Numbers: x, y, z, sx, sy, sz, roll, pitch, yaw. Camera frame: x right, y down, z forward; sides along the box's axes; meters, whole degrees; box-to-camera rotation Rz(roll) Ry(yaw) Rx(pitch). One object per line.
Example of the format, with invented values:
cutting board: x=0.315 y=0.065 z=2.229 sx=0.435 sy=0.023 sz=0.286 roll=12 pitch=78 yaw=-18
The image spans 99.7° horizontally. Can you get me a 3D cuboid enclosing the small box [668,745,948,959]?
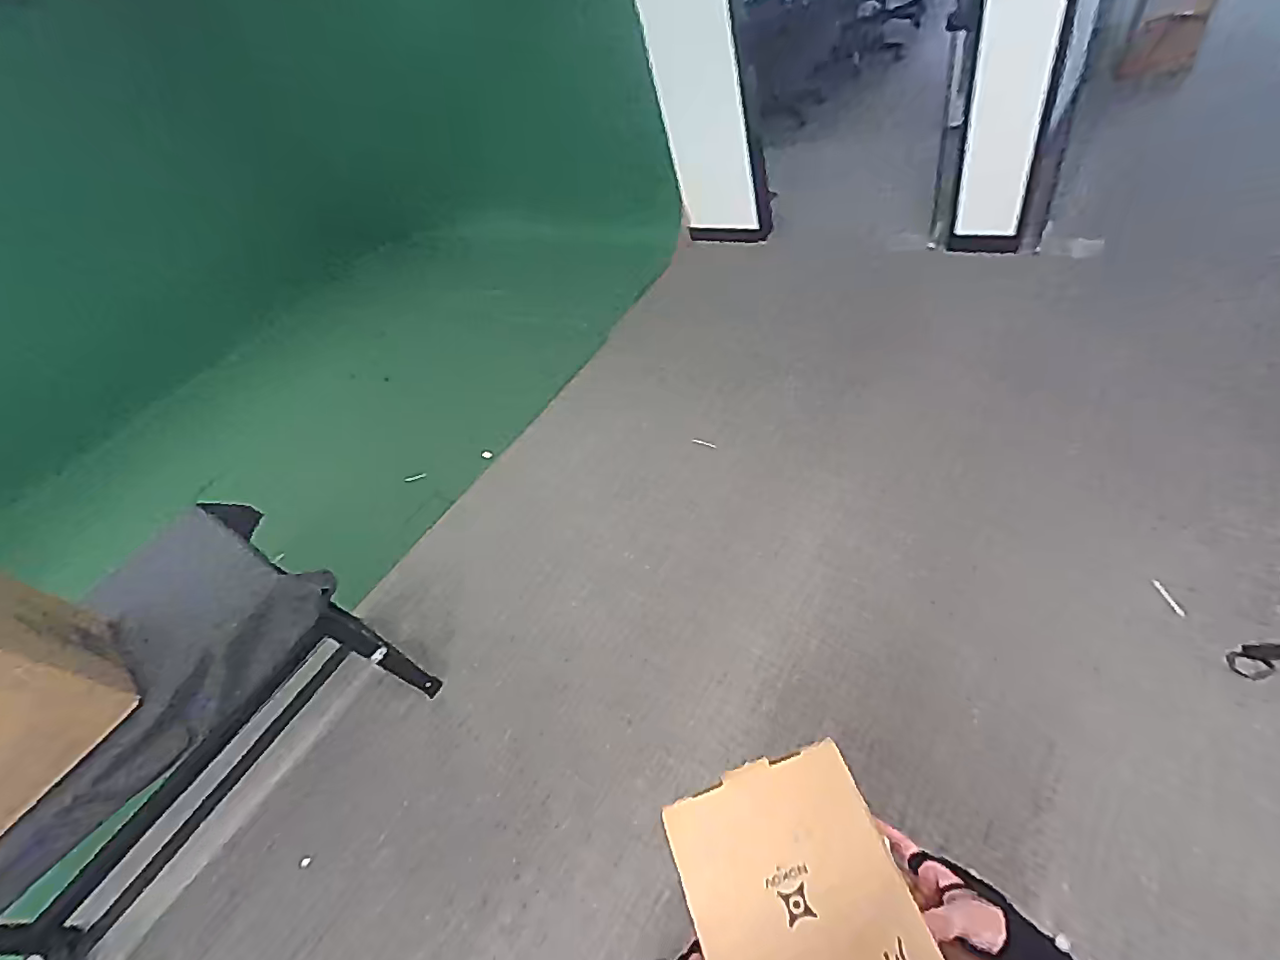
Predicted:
small box: x=0.141 y=0.370 z=0.483 sx=0.168 sy=0.176 sz=0.179 roll=-24 pitch=54 yaw=0
